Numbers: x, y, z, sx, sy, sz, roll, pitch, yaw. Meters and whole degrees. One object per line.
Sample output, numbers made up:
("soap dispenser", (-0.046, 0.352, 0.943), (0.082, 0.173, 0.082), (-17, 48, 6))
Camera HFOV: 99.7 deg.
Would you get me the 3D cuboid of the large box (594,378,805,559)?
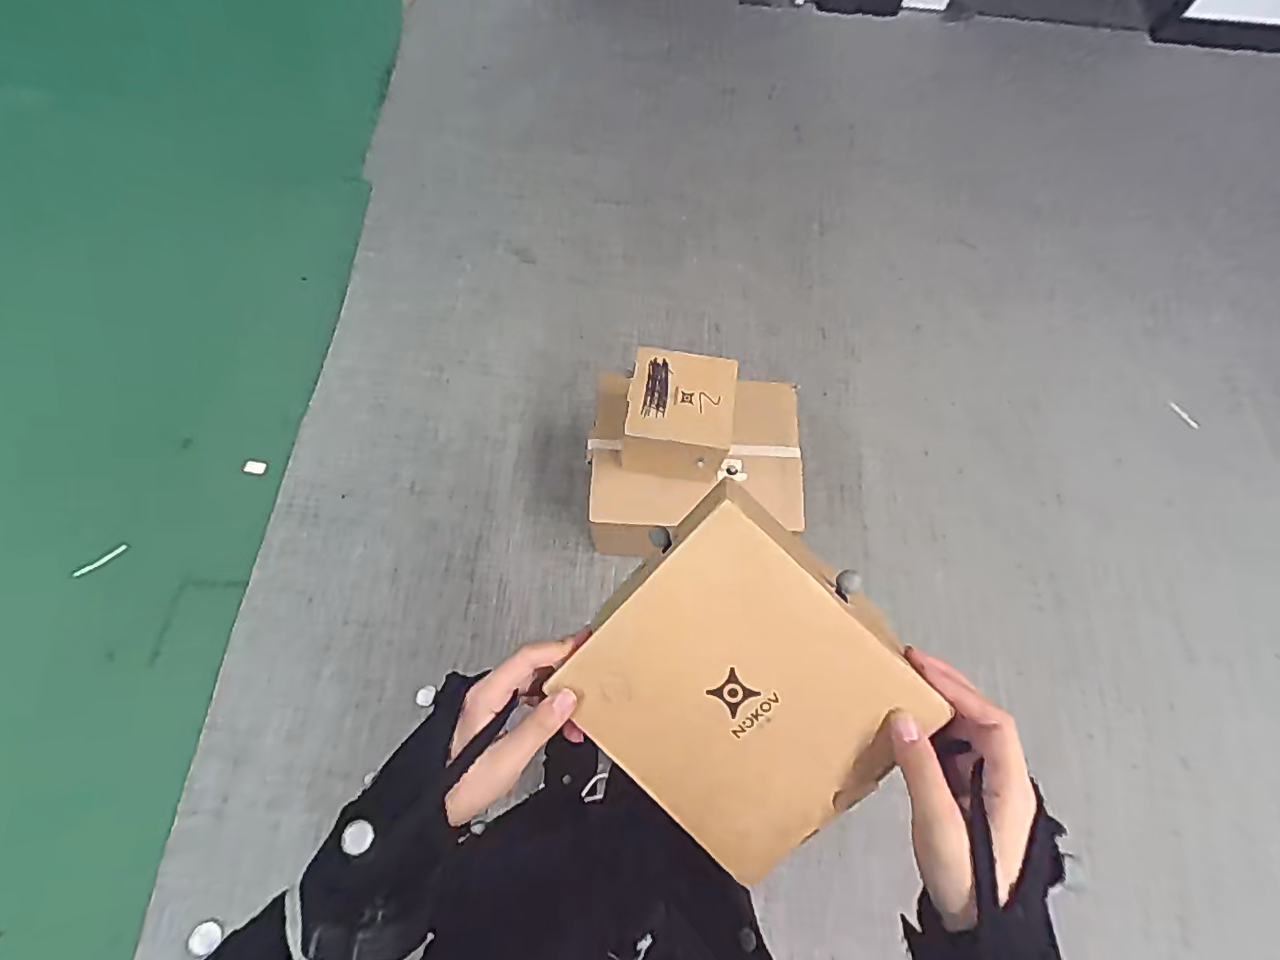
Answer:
("large box", (0.106, -0.007, 1.189), (0.408, 0.320, 0.320), (3, 72, -2))
